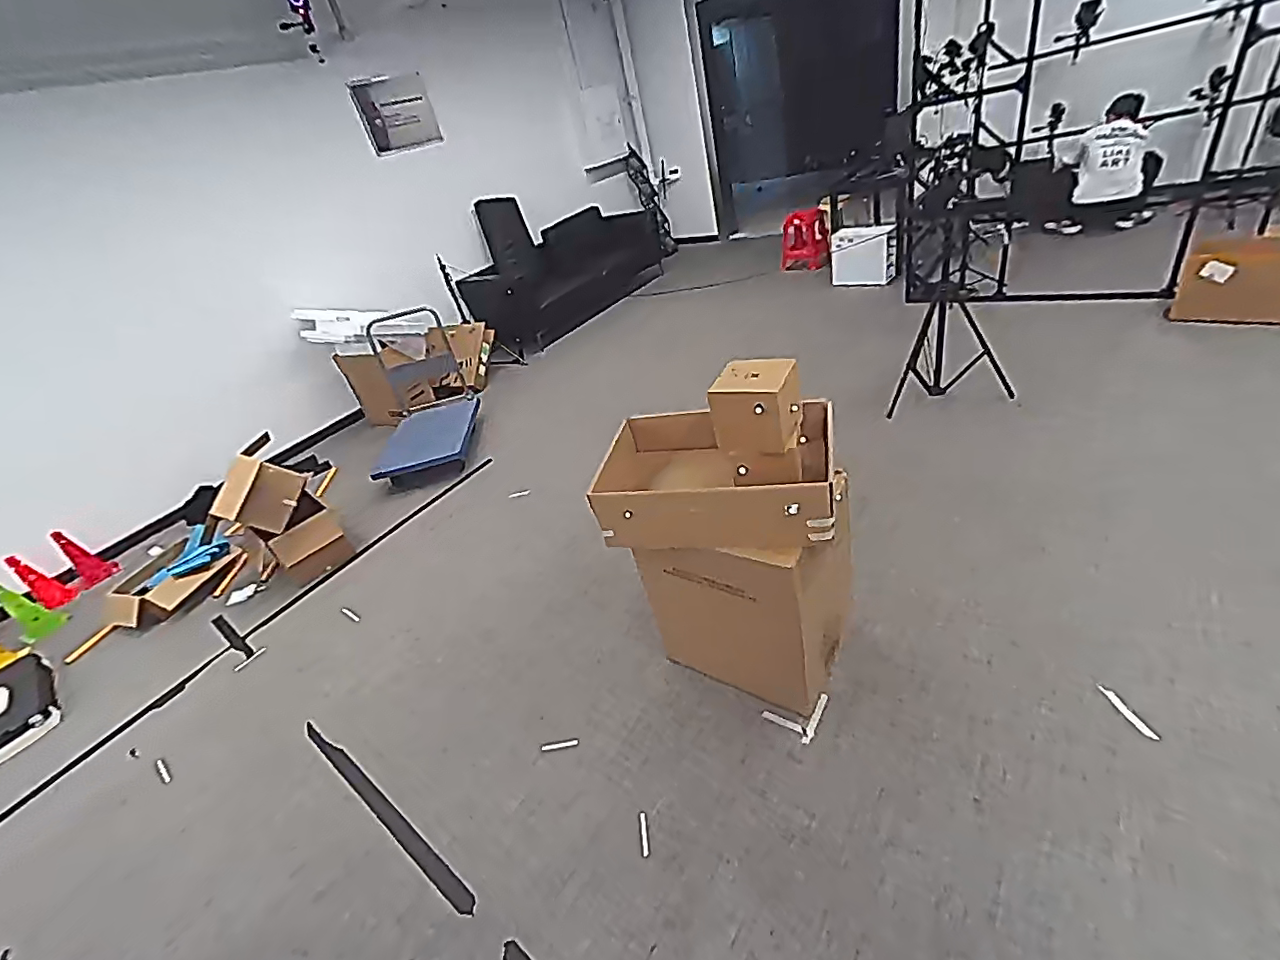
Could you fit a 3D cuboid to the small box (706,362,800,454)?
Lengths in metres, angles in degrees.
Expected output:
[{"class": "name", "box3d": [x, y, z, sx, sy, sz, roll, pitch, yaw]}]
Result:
[{"class": "small box", "box3d": [0.288, -0.177, 1.340, 0.179, 0.176, 0.168, 5, 39, 32]}]
